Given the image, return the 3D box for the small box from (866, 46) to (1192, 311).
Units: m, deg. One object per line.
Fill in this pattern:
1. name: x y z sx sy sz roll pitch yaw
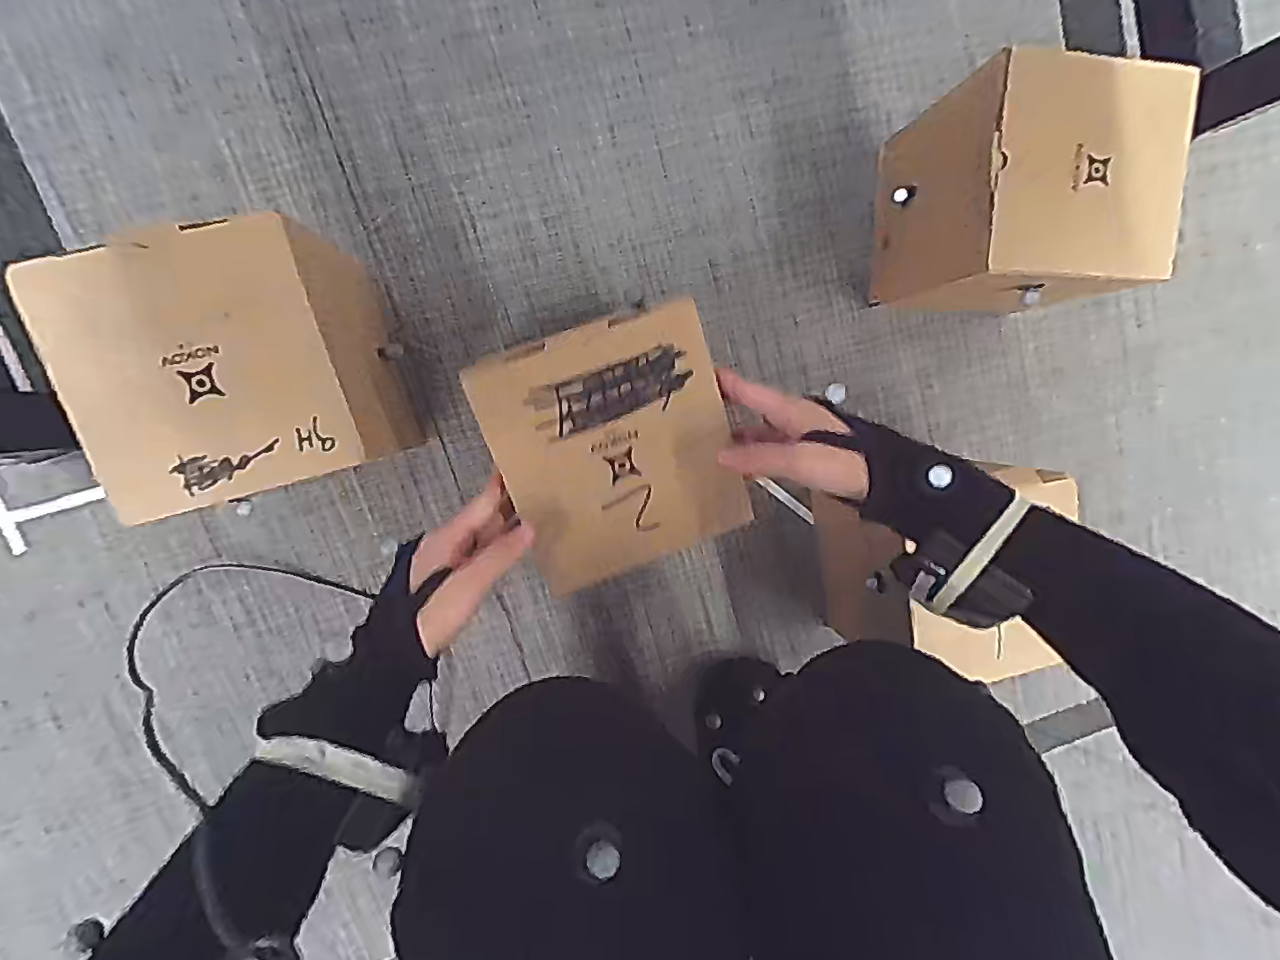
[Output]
1. small box: 0.344 -0.259 0.510 0.179 0.176 0.168 -1 98 -8

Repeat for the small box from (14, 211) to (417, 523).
1. small box: -0.301 -0.081 0.433 0.168 0.176 0.179 -16 98 -7
